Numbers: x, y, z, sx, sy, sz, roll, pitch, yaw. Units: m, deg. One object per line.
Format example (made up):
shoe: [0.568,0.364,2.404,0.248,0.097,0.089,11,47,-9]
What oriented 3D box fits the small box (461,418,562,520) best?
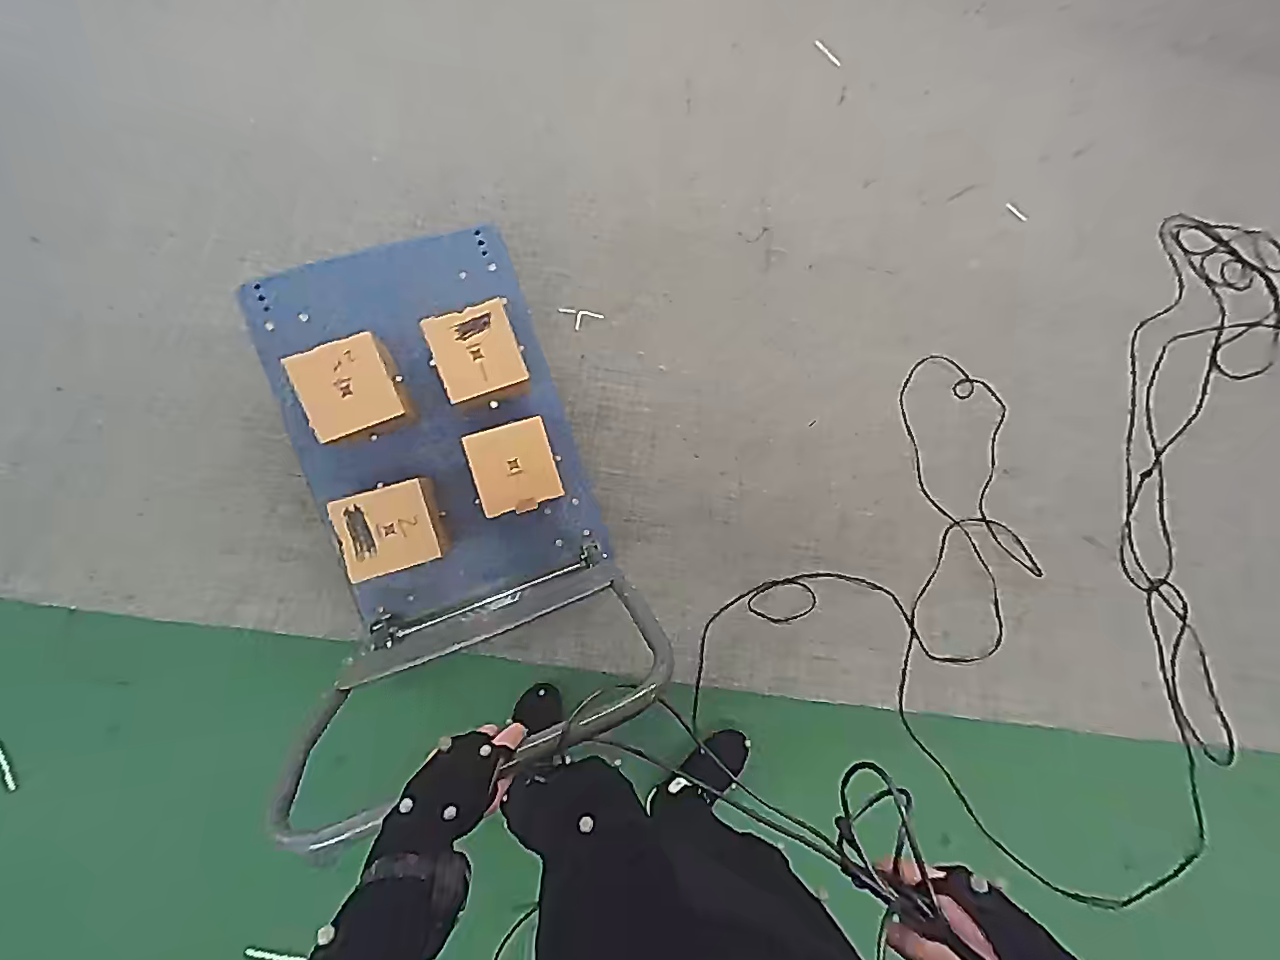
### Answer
small box: [-0.278,-0.023,1.183,0.168,0.176,0.179,-18,95,-11]

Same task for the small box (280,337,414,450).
small box: [-0.590,-0.169,1.117,0.168,0.176,0.179,-24,94,-12]

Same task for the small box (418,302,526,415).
small box: [-0.354,-0.254,1.165,0.168,0.176,0.179,-22,95,-10]
